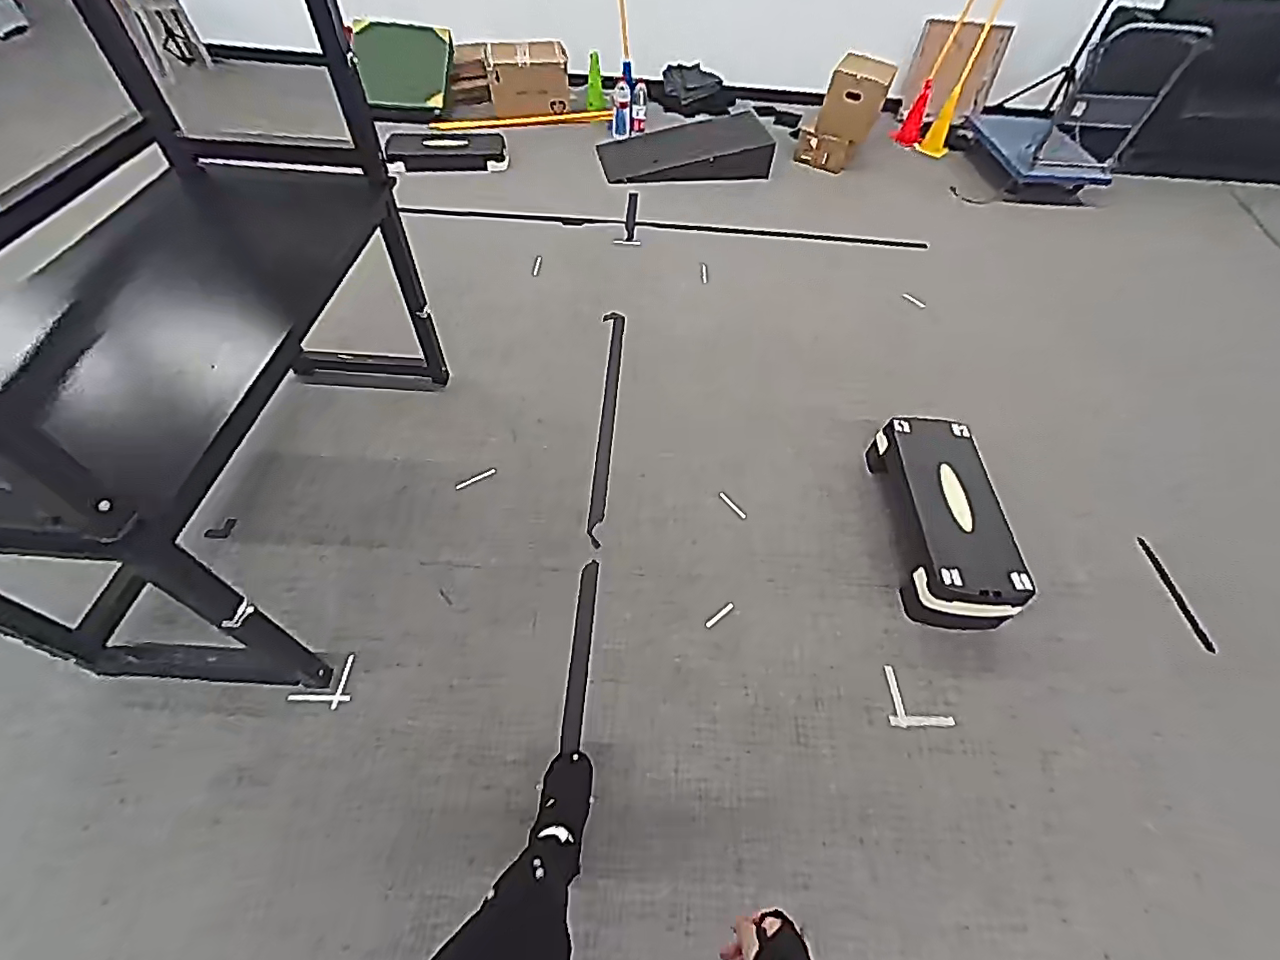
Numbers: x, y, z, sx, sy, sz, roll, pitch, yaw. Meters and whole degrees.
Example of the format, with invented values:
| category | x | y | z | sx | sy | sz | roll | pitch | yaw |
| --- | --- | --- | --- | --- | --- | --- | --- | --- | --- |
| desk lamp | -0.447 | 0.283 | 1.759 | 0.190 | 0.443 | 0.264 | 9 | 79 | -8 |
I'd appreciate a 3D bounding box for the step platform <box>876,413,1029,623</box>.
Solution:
| category | x | y | z | sx | sy | sz | roll | pitch | yaw |
| --- | --- | --- | --- | --- | --- | --- | --- | --- | --- |
| step platform | 0.960 | 0.088 | 1.714 | 0.286 | 0.204 | 0.684 | 8 | 52 | 3 |
